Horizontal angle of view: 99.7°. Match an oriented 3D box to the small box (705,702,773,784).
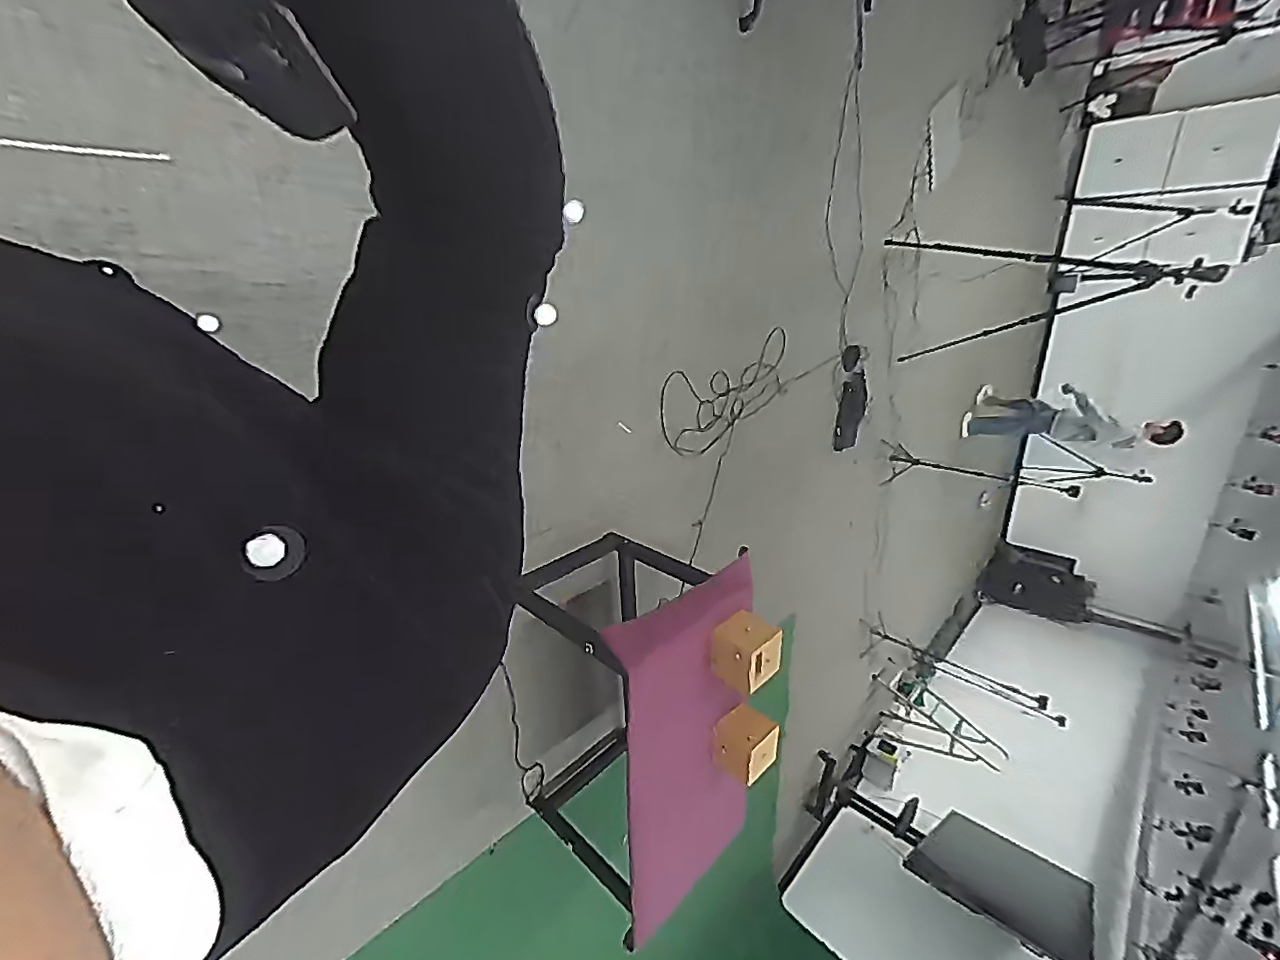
[{"bbox_3d":[0.361,0.955,1.984,0.179,0.176,0.168,-16,116,-39],"label":"small box"}]
